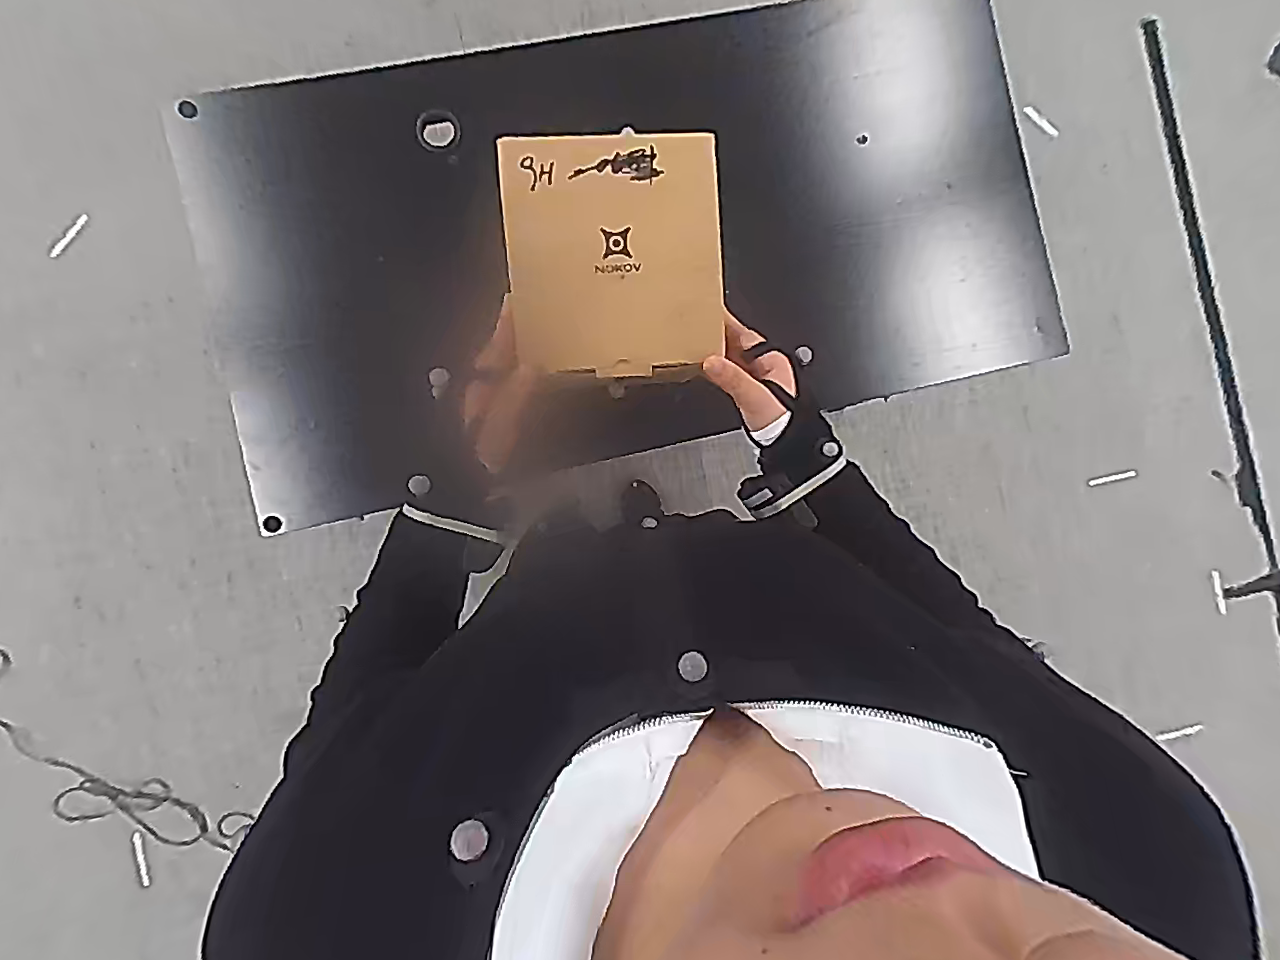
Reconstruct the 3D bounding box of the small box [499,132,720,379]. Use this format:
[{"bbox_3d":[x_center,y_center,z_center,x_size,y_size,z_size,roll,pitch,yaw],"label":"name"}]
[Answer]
[{"bbox_3d":[-0.026,-0.186,0.498,0.168,0.176,0.179,-4,97,-5],"label":"small box"}]
